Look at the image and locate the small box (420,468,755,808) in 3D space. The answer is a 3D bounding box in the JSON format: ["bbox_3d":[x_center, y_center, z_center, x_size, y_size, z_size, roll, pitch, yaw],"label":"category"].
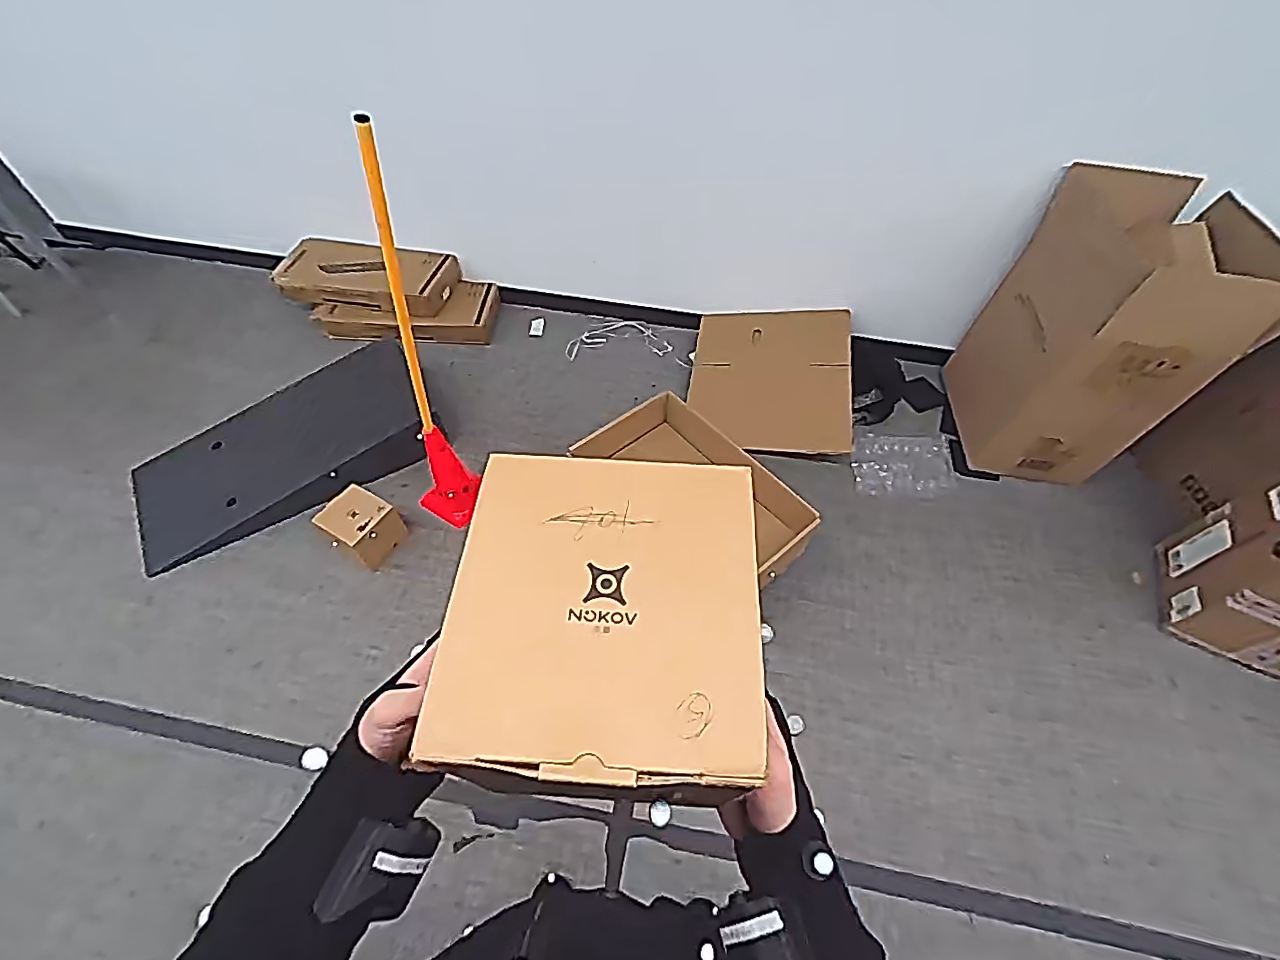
[{"bbox_3d":[-0.020,0.114,0.368,0.168,0.176,0.179,4,55,1],"label":"small box"}]
